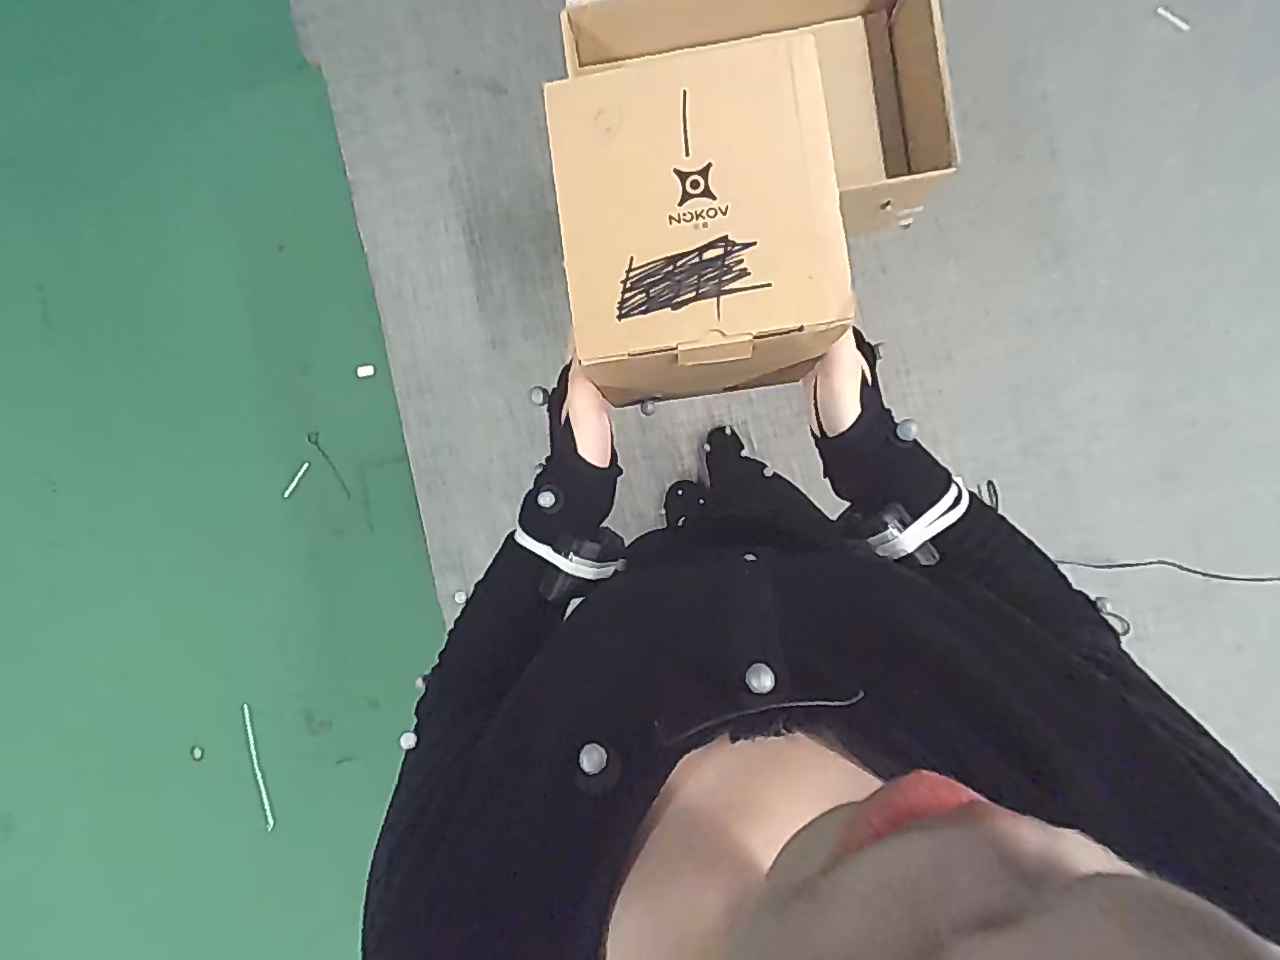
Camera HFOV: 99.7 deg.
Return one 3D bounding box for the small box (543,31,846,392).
[{"bbox_3d":[0.037,-0.168,0.402,0.168,0.176,0.179,-8,87,4],"label":"small box"}]
